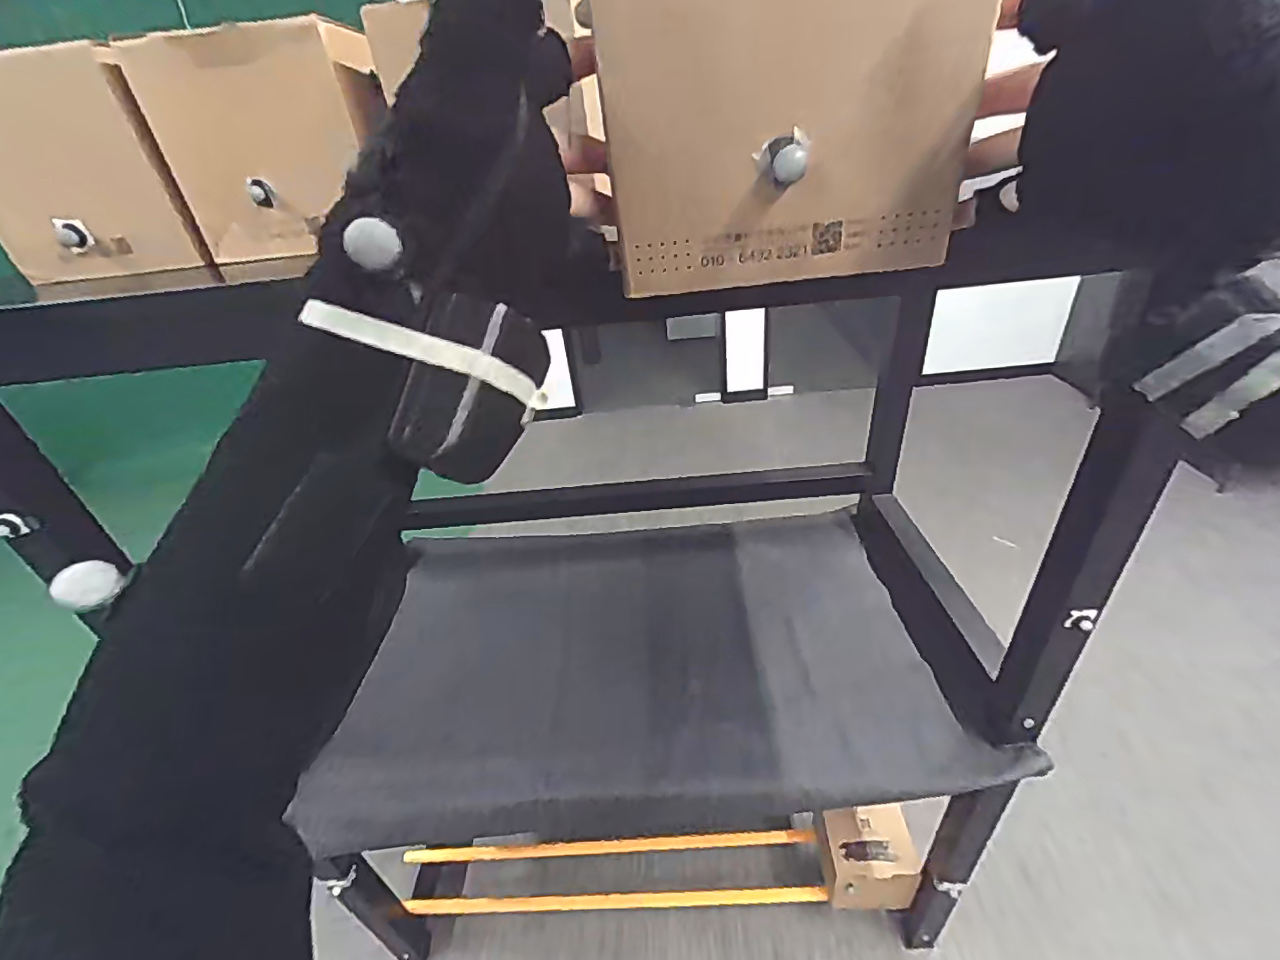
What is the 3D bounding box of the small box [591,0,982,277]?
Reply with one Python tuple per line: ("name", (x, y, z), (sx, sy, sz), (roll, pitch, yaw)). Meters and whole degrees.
("small box", (0.065, -0.226, 0.306), (0.168, 0.176, 0.179), (-5, 36, 5))
